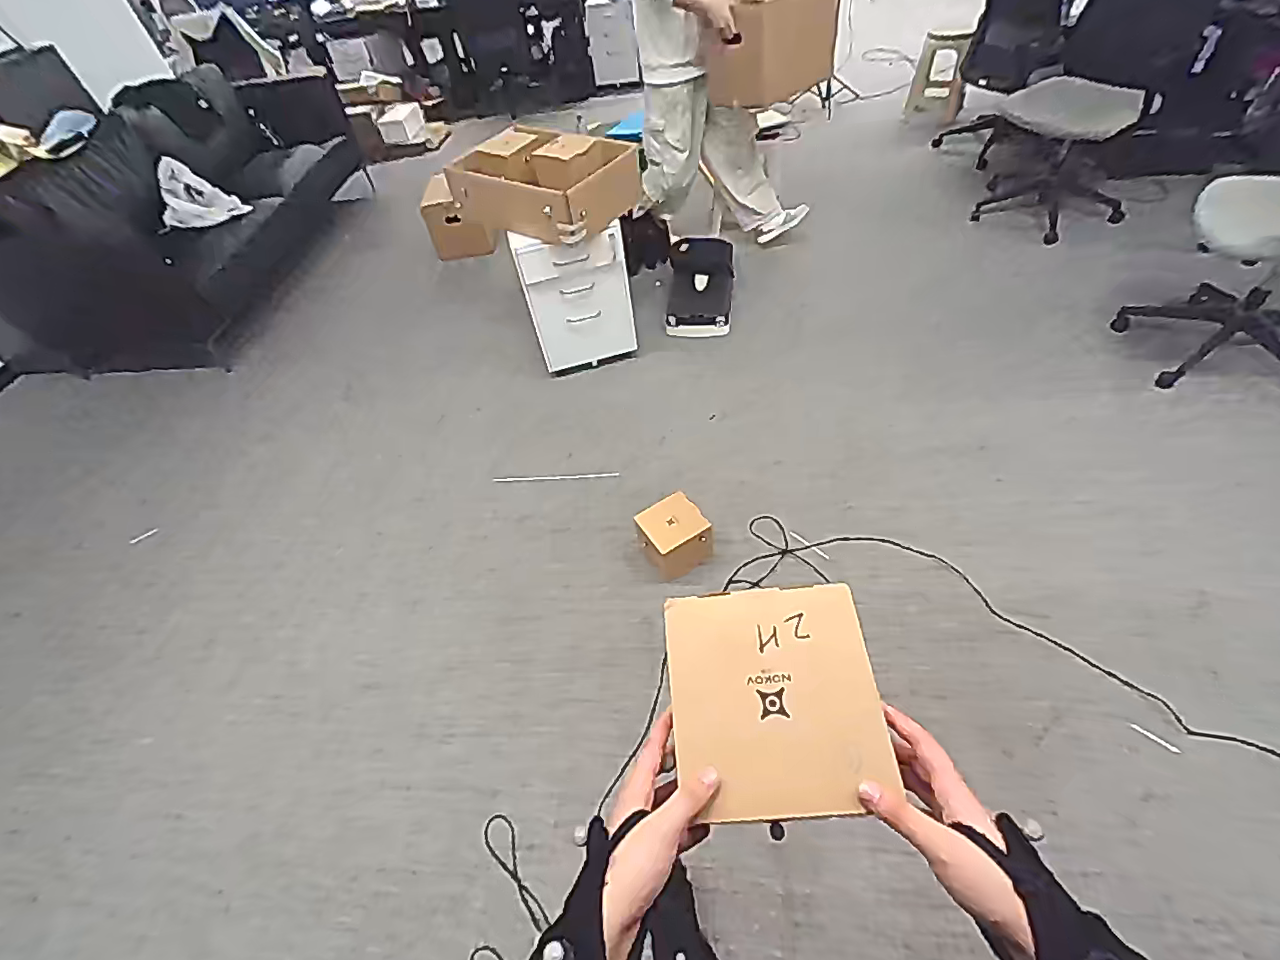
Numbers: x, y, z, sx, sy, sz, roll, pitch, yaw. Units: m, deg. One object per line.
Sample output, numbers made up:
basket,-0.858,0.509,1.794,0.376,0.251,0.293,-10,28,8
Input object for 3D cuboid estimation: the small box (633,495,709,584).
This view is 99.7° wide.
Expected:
small box,0.101,0.187,1.661,0.179,0.176,0.168,-29,52,-16
